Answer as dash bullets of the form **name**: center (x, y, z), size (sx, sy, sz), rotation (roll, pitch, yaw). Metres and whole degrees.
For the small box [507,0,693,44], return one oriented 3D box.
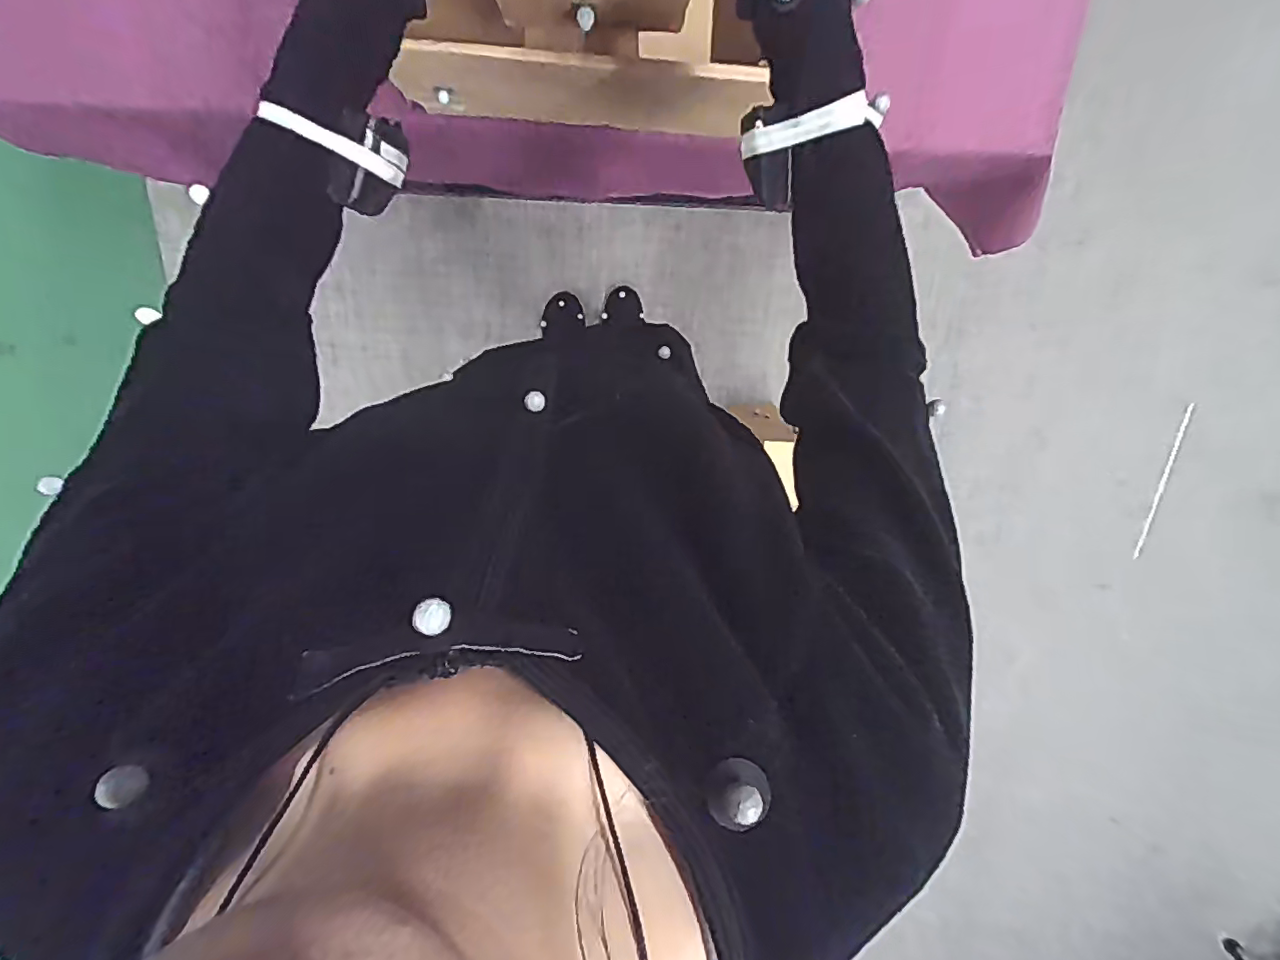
- **small box**: center (-0.034, -0.467, 0.399), size (0.168, 0.176, 0.179), rotation (2, 111, -2)

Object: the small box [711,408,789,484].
- **small box**: center (0.285, -0.095, 1.442), size (0.179, 0.176, 0.168), rotation (-4, 108, -2)
